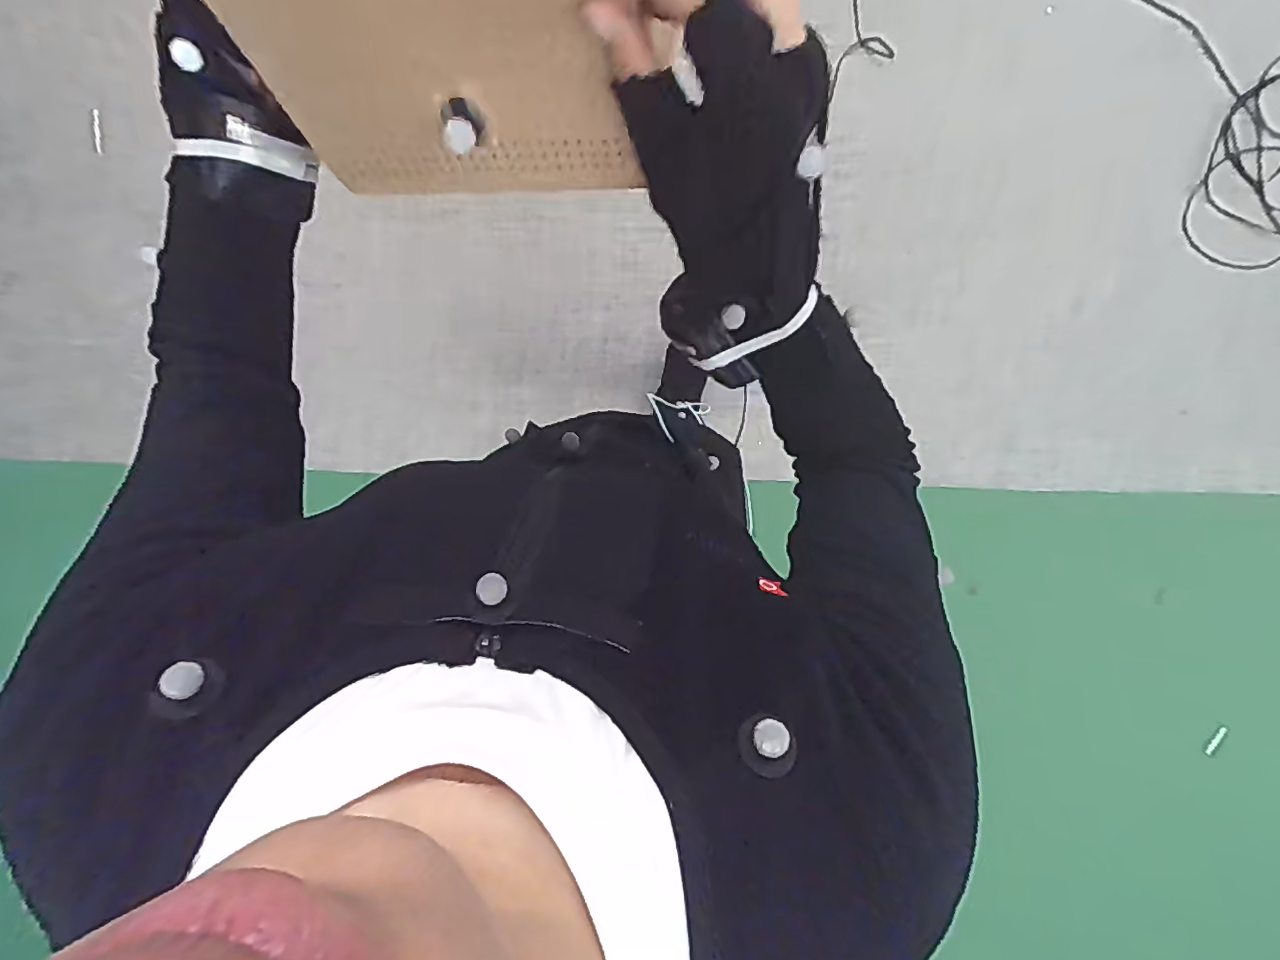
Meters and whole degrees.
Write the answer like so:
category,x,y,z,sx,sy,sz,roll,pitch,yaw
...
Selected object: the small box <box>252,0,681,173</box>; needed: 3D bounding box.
category,x,y,z,sx,sy,sz,roll,pitch,yaw
small box,-0.072,-0.269,0.249,0.179,0.176,0.168,3,67,7
